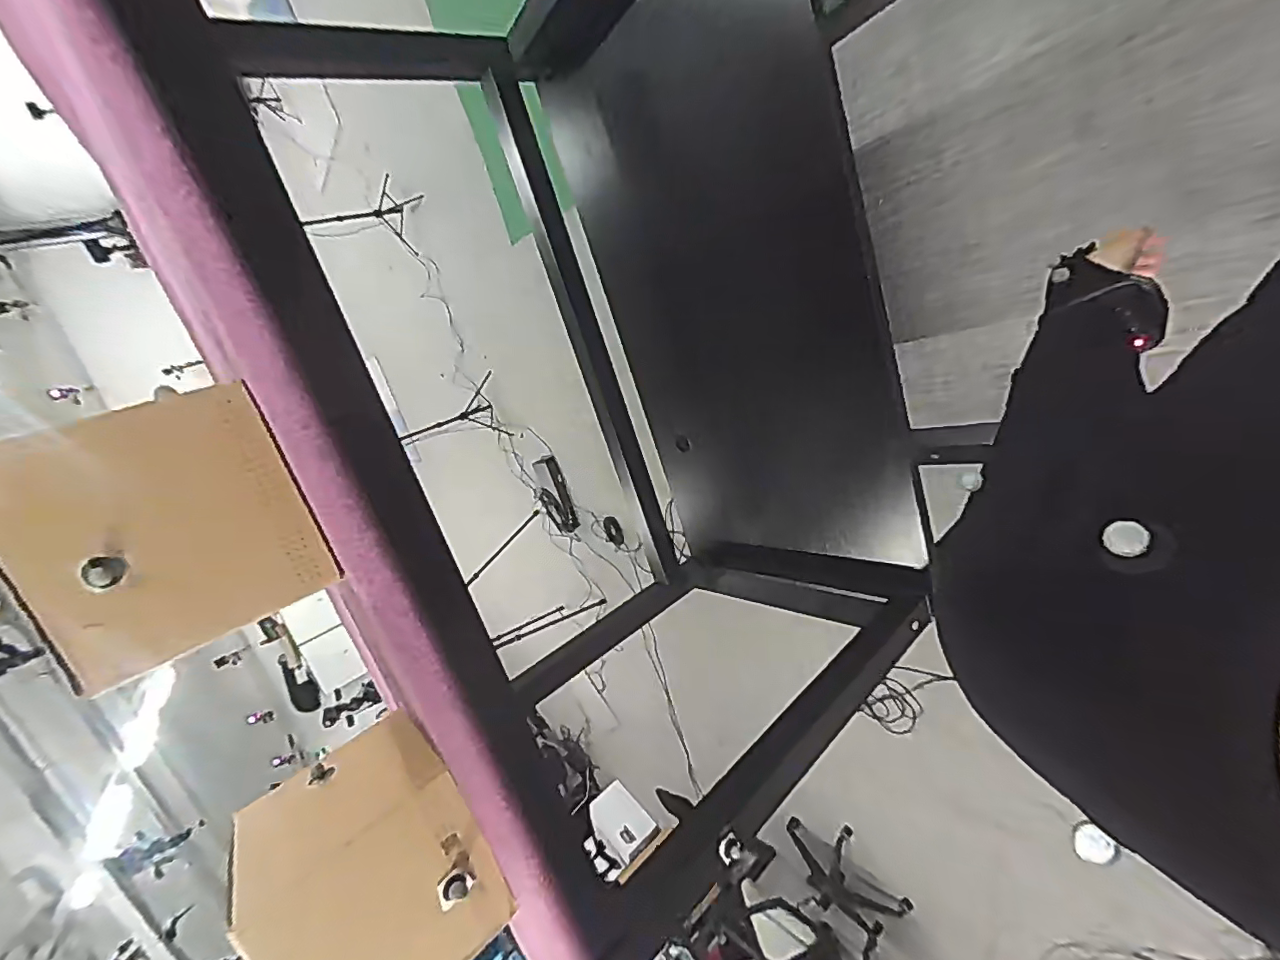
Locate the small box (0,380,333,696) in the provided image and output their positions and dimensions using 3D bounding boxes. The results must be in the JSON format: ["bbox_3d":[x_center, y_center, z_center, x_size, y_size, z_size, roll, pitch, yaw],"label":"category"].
[{"bbox_3d":[-0.378,0.032,0.446,0.168,0.176,0.179,2,114,55],"label":"small box"}]

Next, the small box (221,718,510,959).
[{"bbox_3d":[-0.246,0.353,0.499,0.179,0.176,0.168,-6,109,54],"label":"small box"}]
